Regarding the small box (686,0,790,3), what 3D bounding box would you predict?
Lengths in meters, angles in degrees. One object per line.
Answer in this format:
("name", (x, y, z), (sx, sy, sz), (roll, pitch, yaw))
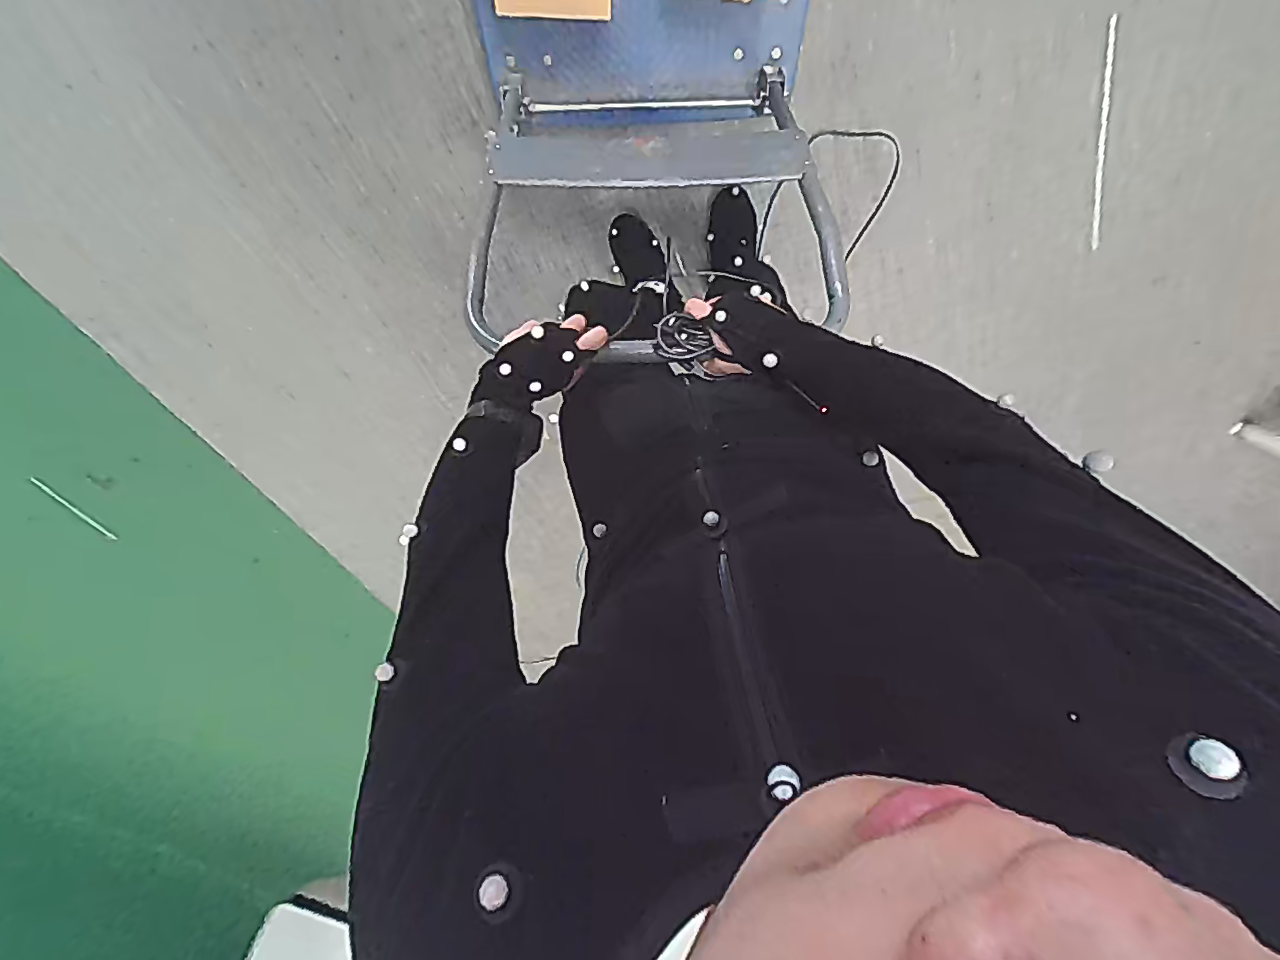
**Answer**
("small box", (0.143, -0.827, 0.784), (0.168, 0.176, 0.179), (0, 143, -1))
